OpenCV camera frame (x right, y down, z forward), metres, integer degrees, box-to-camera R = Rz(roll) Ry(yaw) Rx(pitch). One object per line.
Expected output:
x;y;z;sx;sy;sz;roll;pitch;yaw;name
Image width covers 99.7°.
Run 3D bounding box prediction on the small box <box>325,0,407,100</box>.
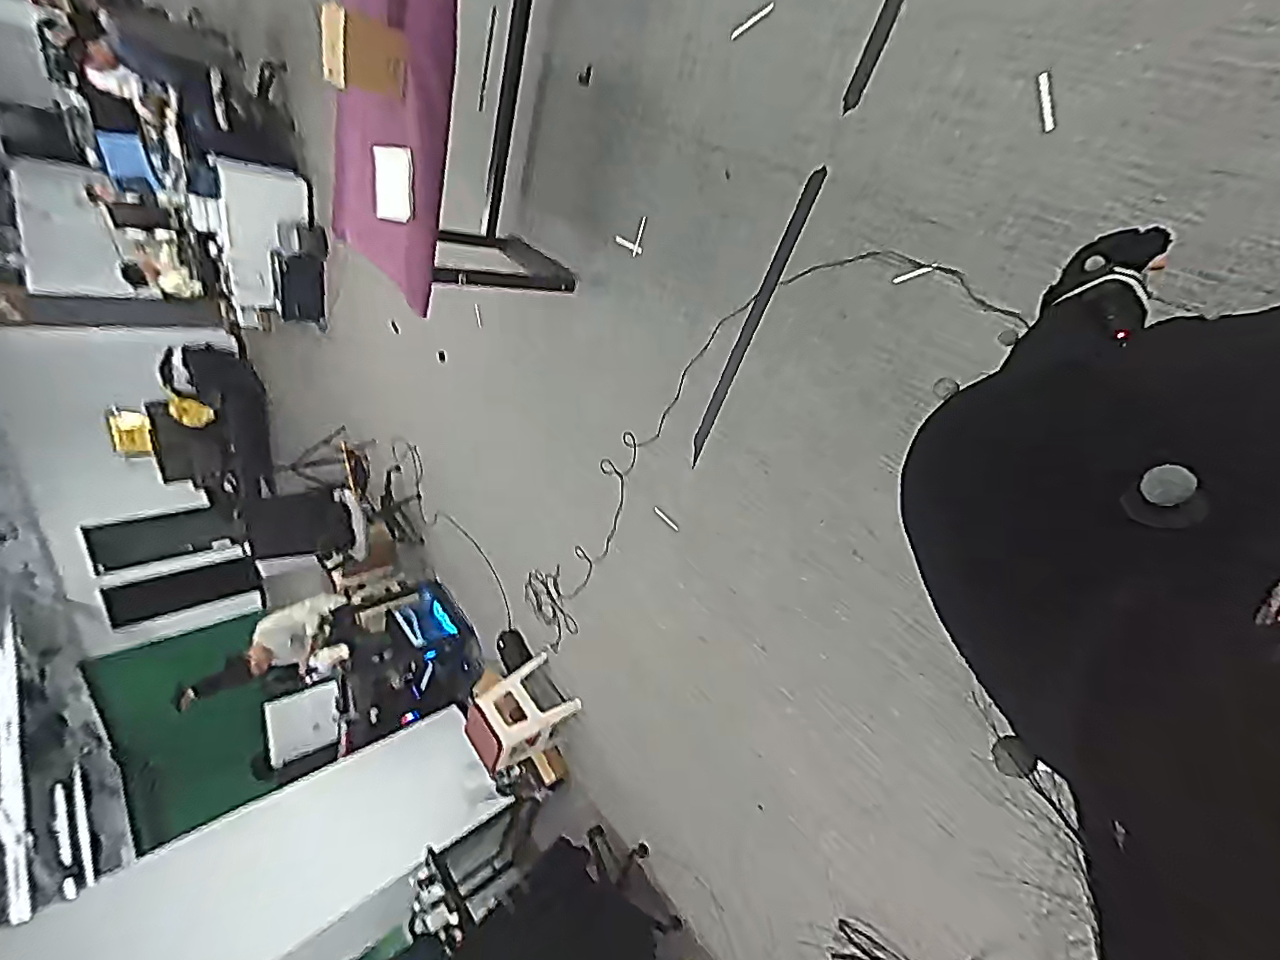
-0.787;-1.234;1.557;0.168;0.176;0.179;42;127;32;small box
